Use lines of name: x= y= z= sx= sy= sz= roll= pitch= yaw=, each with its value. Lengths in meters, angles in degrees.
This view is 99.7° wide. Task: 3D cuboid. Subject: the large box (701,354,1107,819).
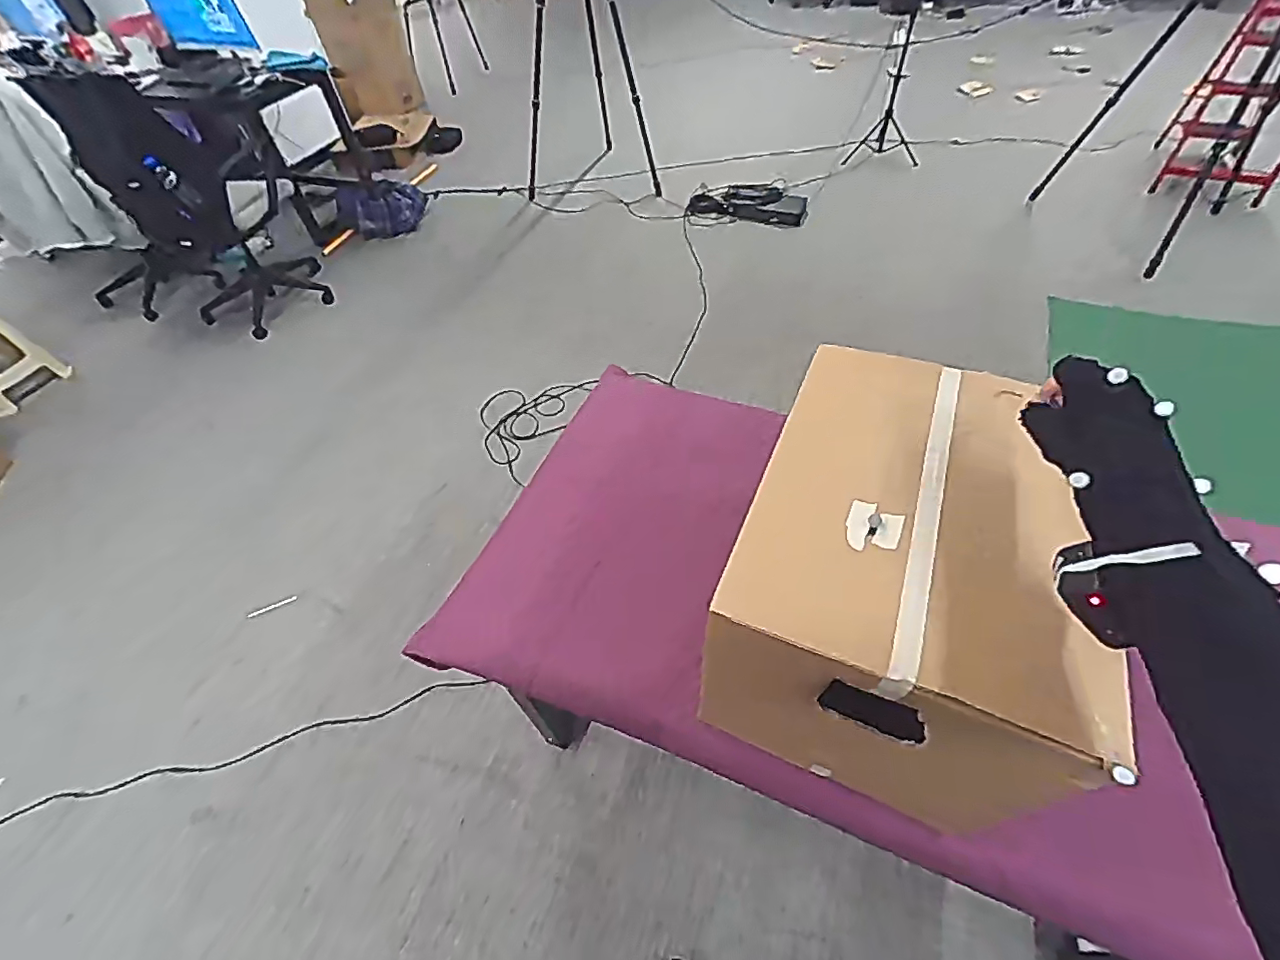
large box: x=0.290 y=0.116 z=0.662 sx=0.320 sy=0.320 sz=0.408 roll=18 pitch=55 yaw=18
